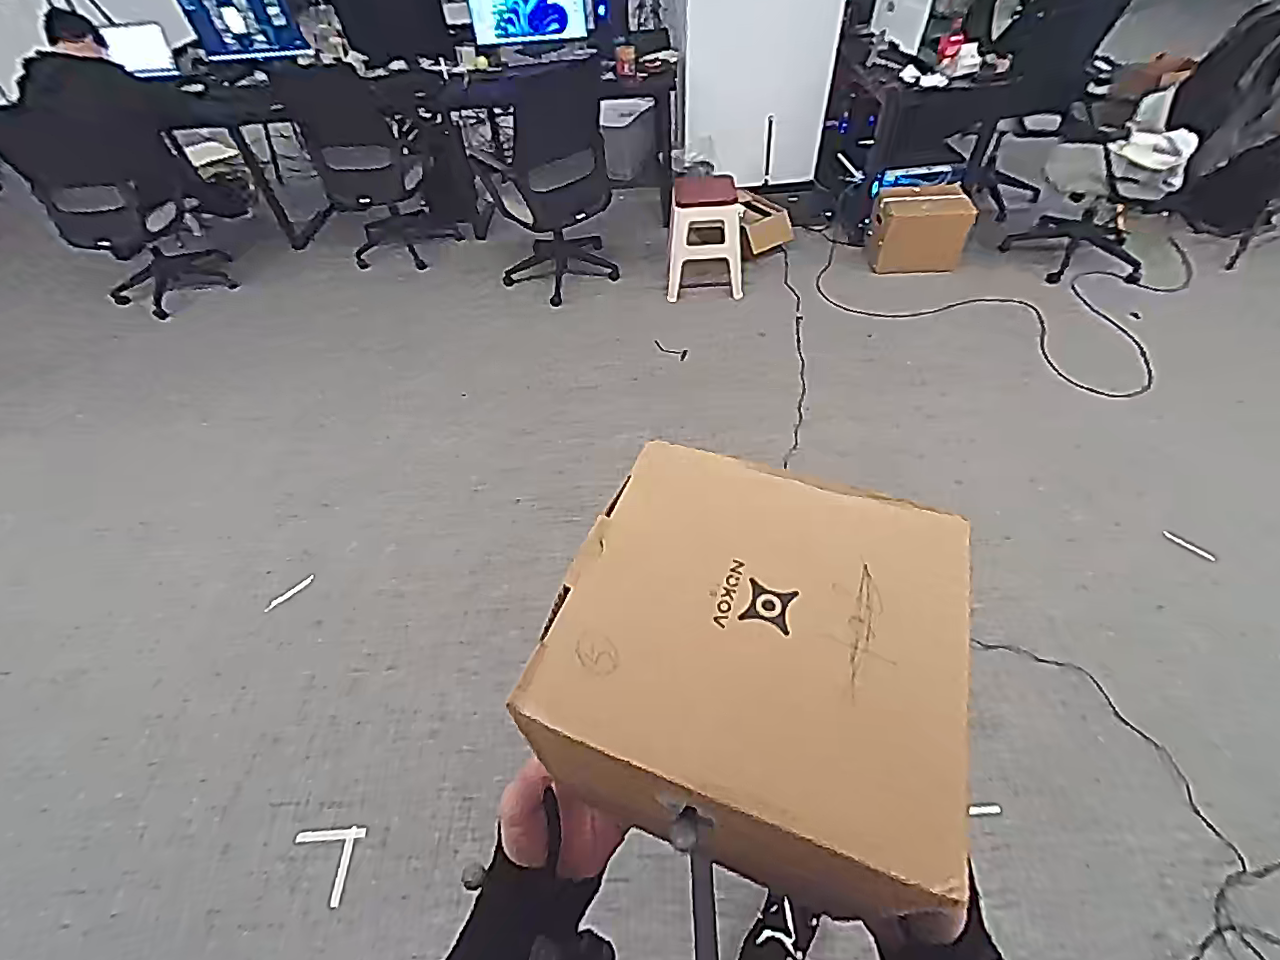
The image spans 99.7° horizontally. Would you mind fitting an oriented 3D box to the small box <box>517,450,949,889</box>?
[{"bbox_3d":[0.056,0.113,0.320,0.179,0.176,0.168,15,52,14],"label":"small box"}]
